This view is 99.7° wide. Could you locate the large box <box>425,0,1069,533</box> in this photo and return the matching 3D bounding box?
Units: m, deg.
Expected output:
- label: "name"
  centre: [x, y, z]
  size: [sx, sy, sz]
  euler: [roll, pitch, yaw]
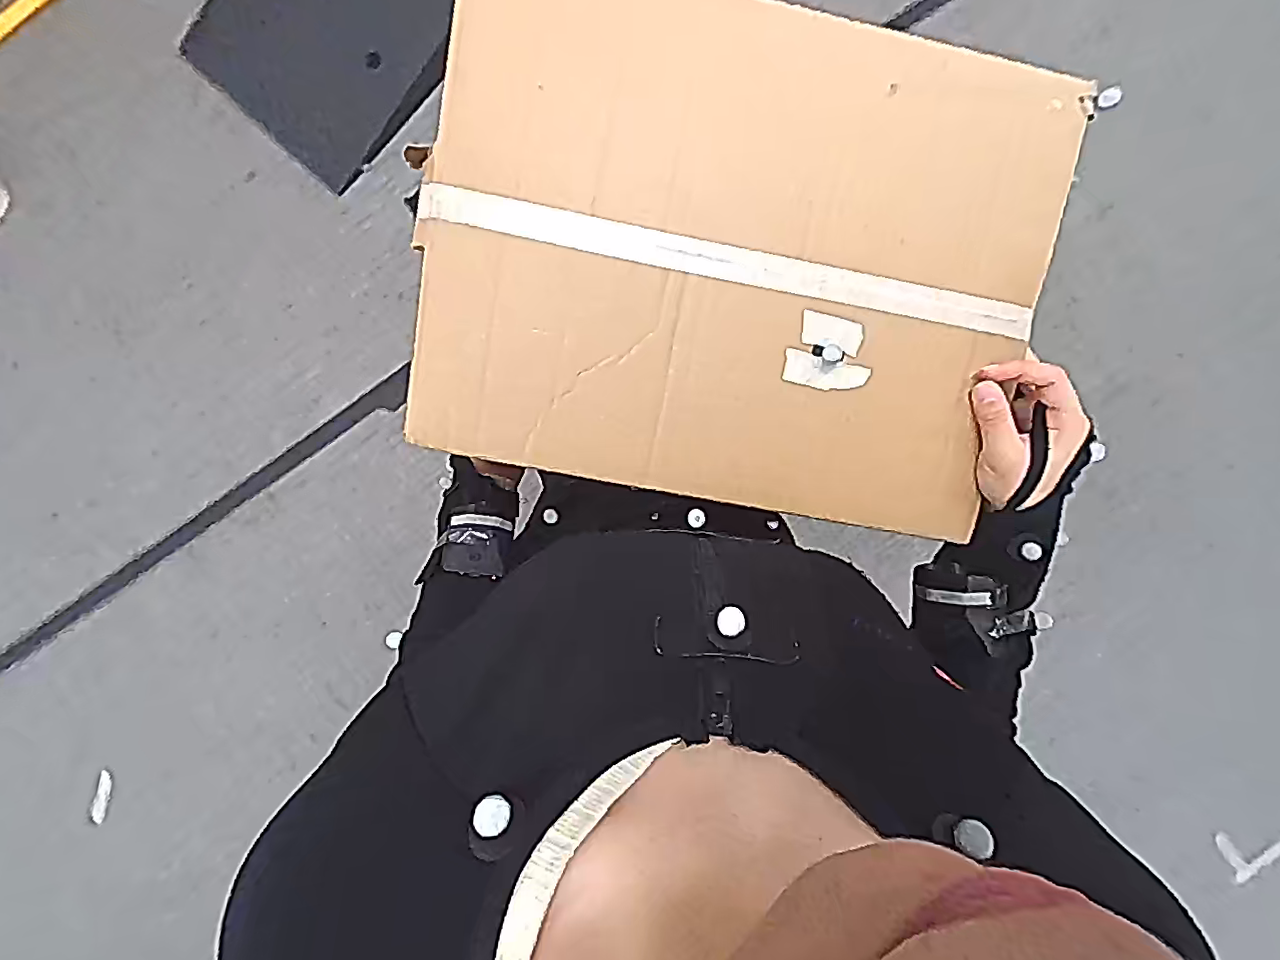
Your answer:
- label: "large box"
  centre: [0.060, -0.161, 0.513]
  size: [0.408, 0.320, 0.320]
  euler: [10, 99, -6]
